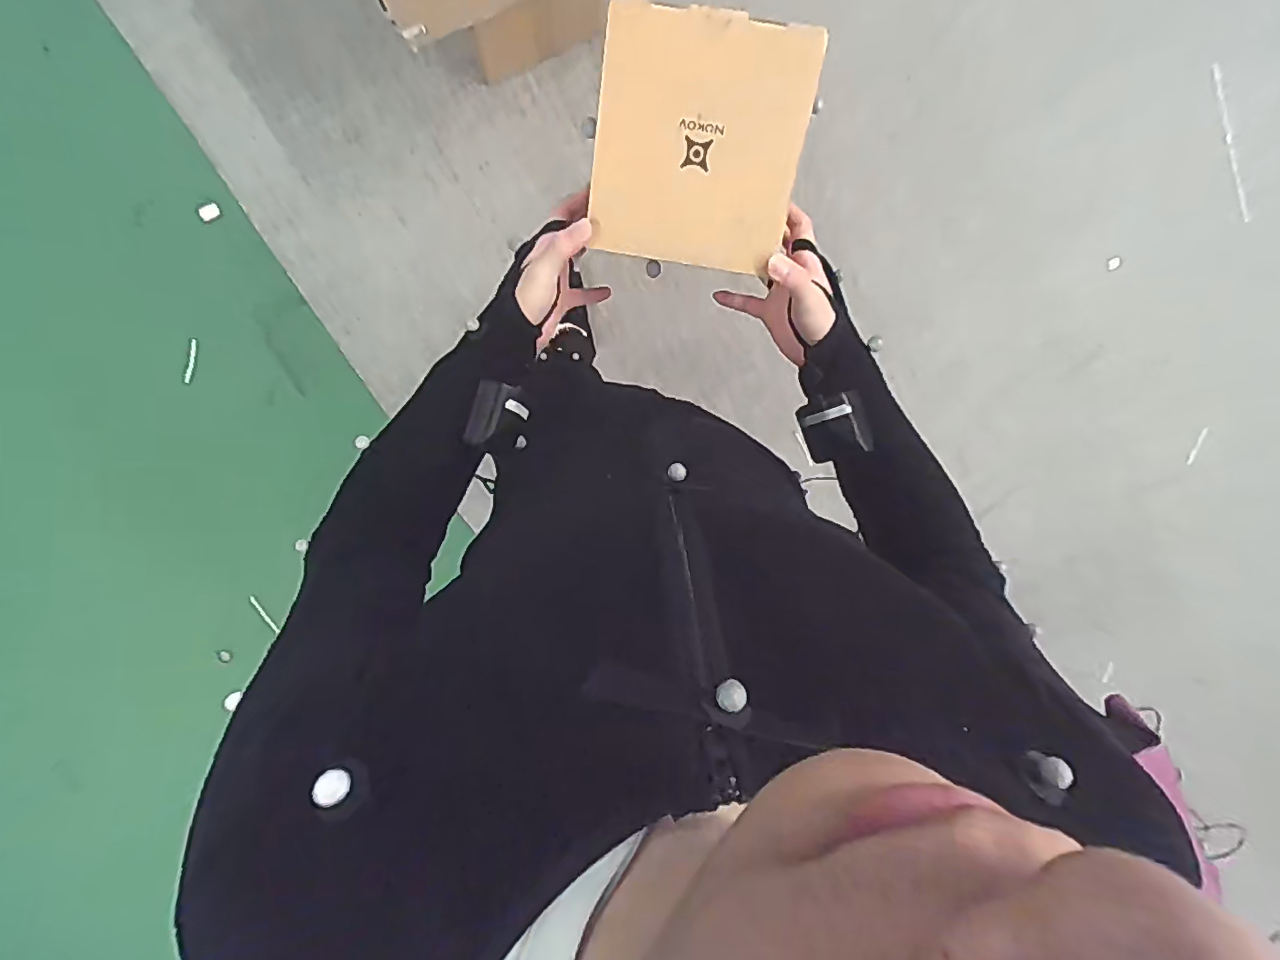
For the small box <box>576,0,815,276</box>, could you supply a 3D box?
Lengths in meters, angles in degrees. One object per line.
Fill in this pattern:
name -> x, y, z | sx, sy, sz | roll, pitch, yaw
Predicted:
small box -> 0.043, -0.295, 0.503 | 0.168, 0.176, 0.179 | 9, 111, 0
